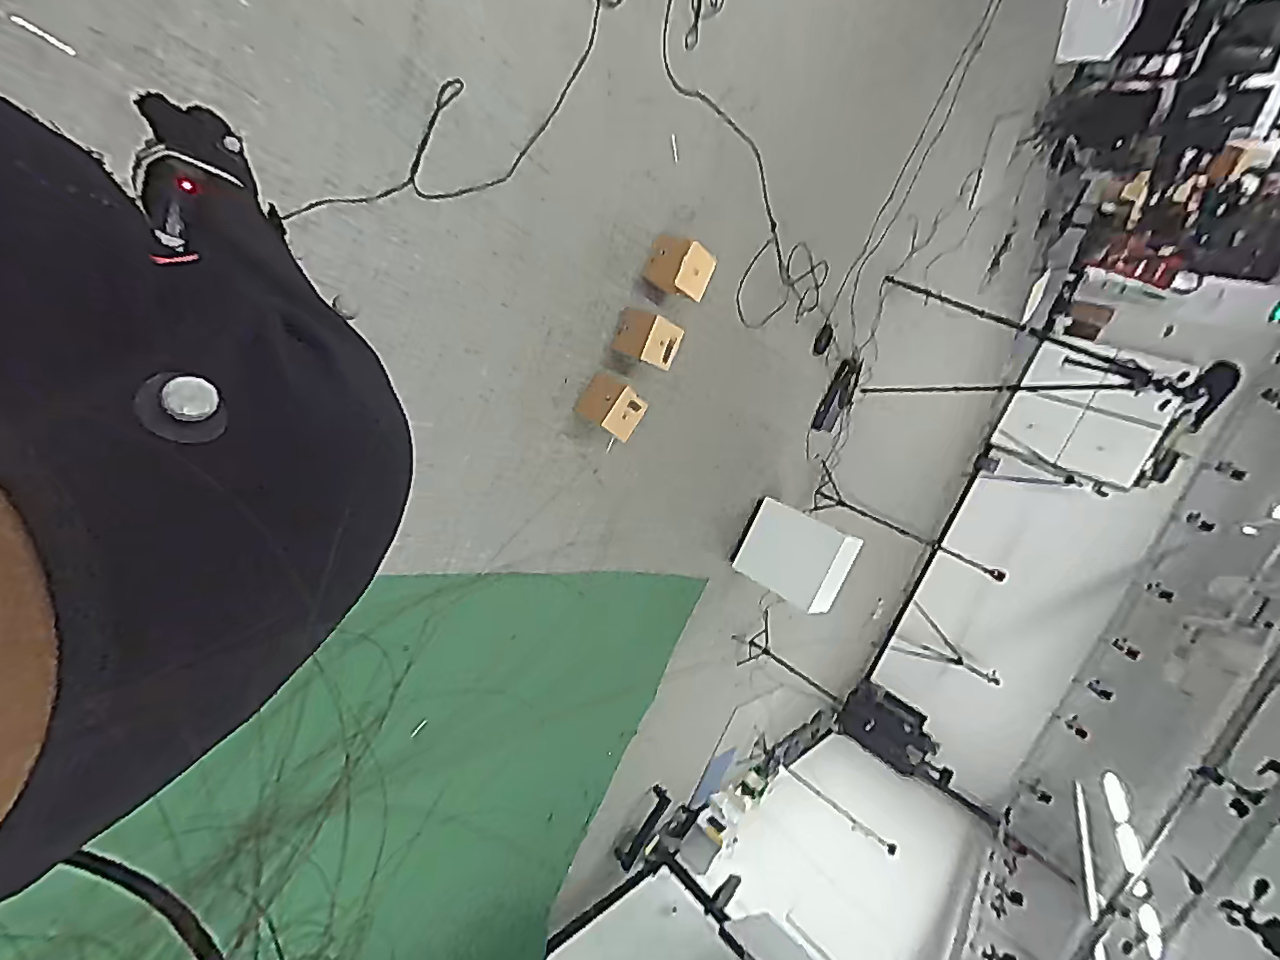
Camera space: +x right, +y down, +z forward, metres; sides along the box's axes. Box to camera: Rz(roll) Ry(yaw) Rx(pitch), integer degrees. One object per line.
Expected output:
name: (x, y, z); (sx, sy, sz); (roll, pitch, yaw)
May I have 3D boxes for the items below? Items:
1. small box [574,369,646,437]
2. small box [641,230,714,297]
small box: (-0.116, -0.295, 2.043); (0.179, 0.176, 0.168); (-57, 143, -2)
small box: (0.137, -0.805, 2.001); (0.179, 0.176, 0.168); (13, 104, -52)
